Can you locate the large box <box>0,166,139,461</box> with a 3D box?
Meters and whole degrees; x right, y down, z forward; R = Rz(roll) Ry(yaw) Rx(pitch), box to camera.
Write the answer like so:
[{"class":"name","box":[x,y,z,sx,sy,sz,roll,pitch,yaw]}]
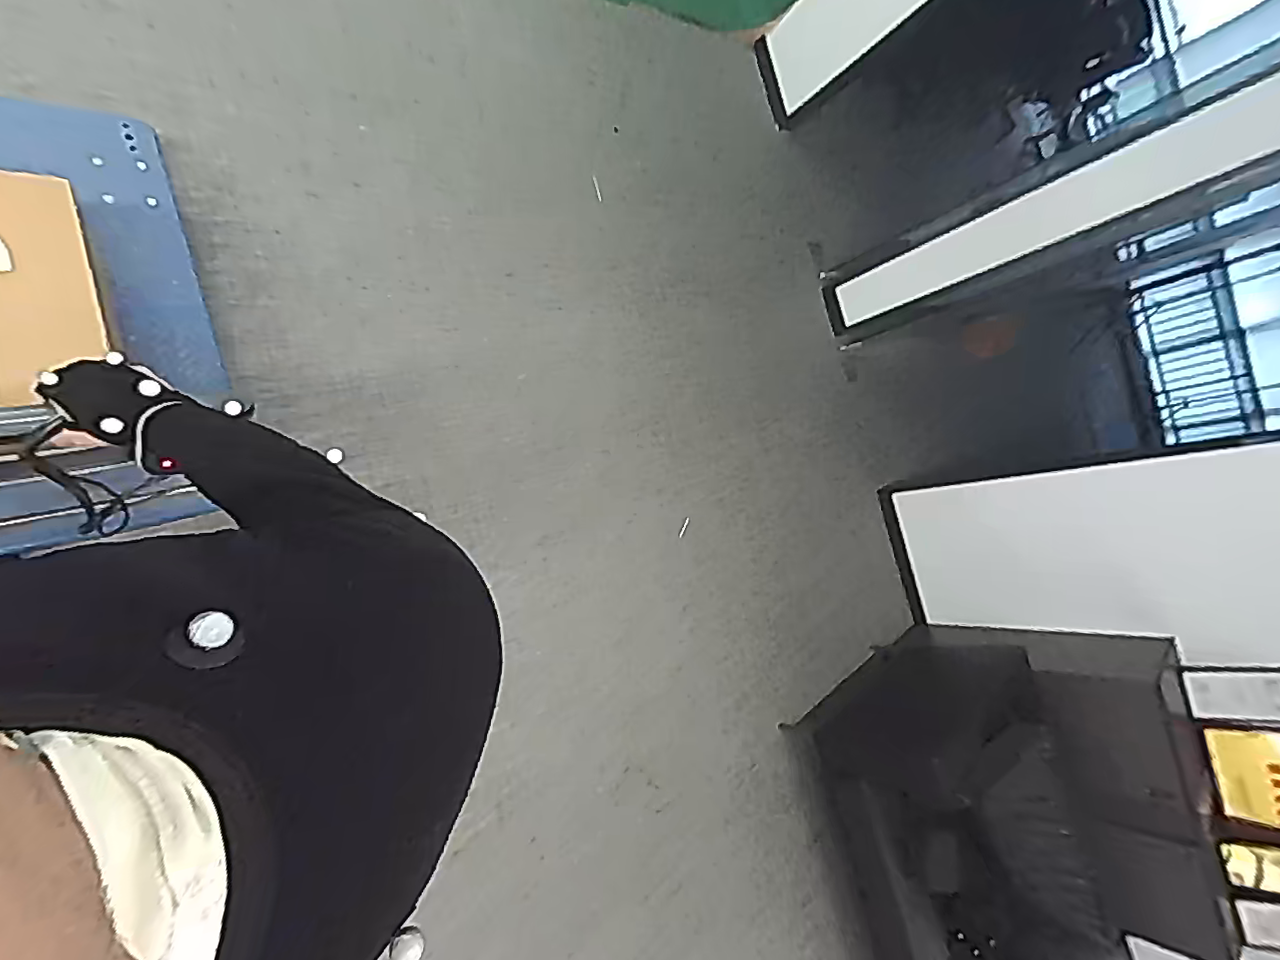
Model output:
[{"class":"large box","box":[-1.103,-0.255,0.901,0.320,0.320,0.408,-13,90,-39]}]
